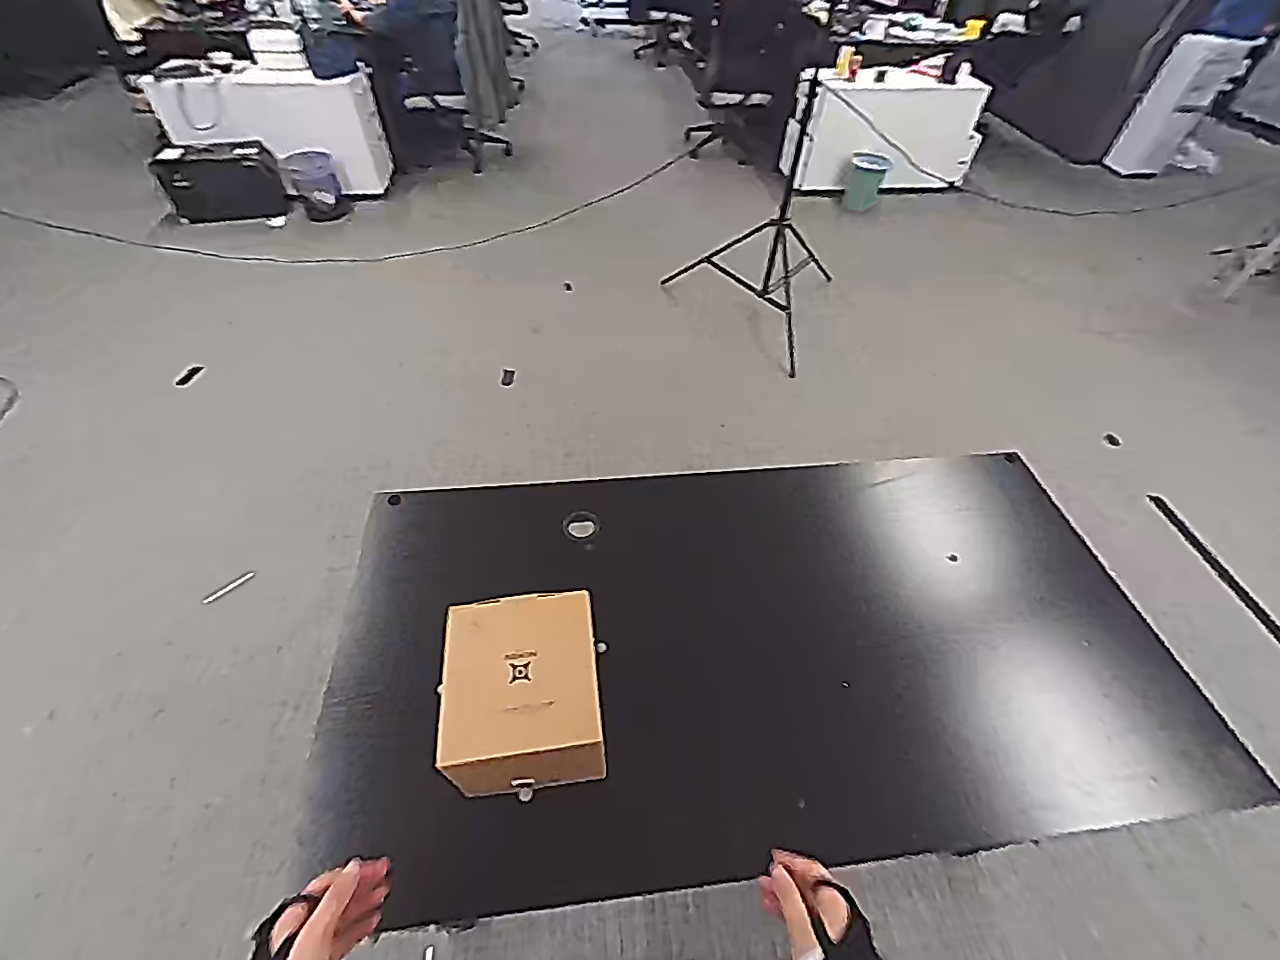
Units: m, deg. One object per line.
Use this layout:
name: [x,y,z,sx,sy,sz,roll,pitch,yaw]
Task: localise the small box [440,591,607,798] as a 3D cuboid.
small box: [-0.132,0.259,0.654,0.168,0.176,0.179,-7,51,-7]
